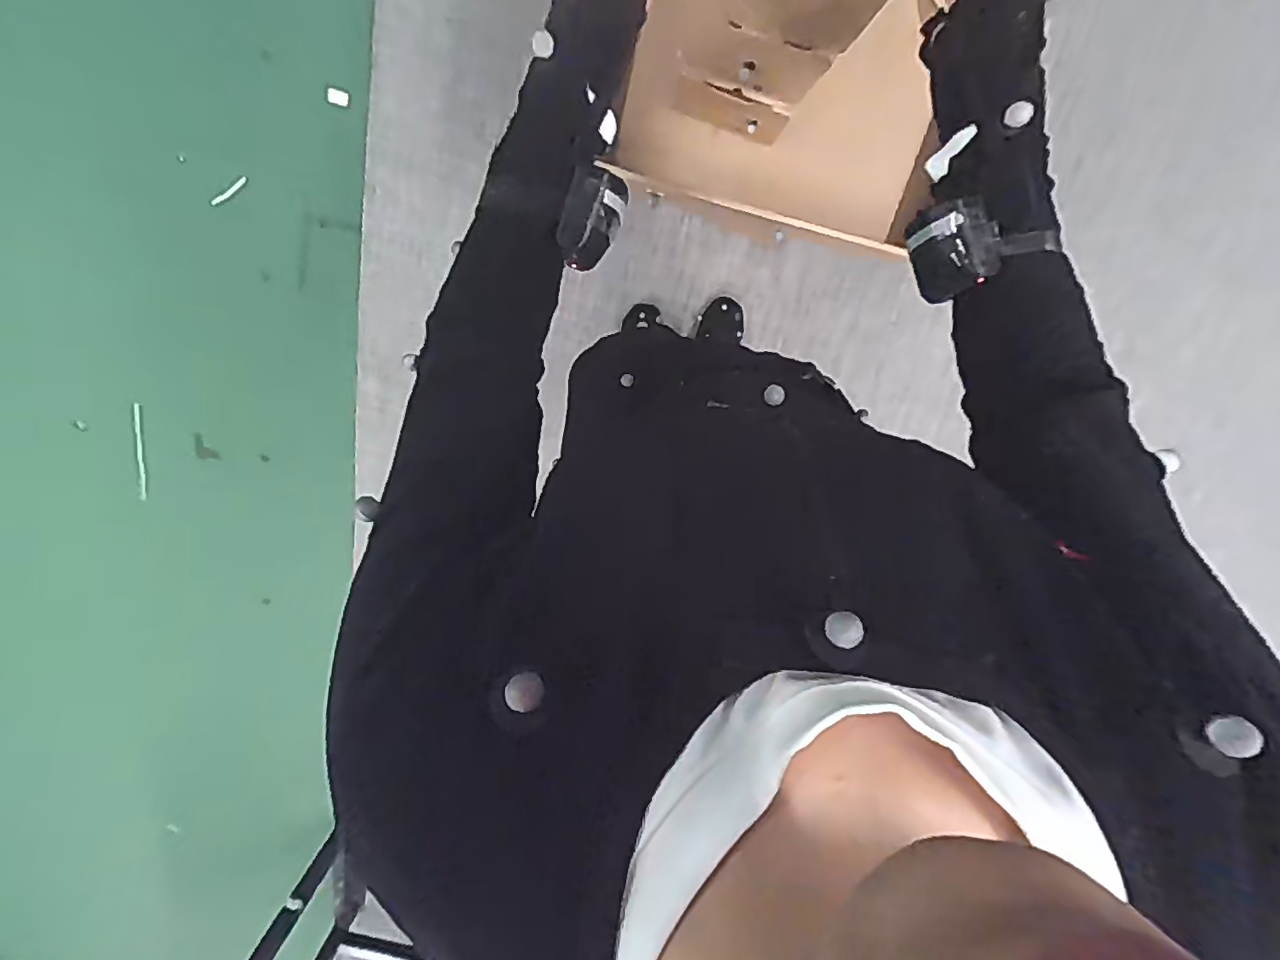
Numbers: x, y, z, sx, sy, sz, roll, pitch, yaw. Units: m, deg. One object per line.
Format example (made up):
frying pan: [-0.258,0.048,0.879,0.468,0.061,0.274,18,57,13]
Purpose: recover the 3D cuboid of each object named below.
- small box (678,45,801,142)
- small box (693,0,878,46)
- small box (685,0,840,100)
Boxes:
small box: [0.157,-0.608,0.757,0.168,0.176,0.179,17,108,-4]
small box: [0.144,-0.502,0.445,0.179,0.176,0.168,14,110,-4]
small box: [0.154,-0.561,0.600,0.168,0.176,0.179,16,111,-4]
